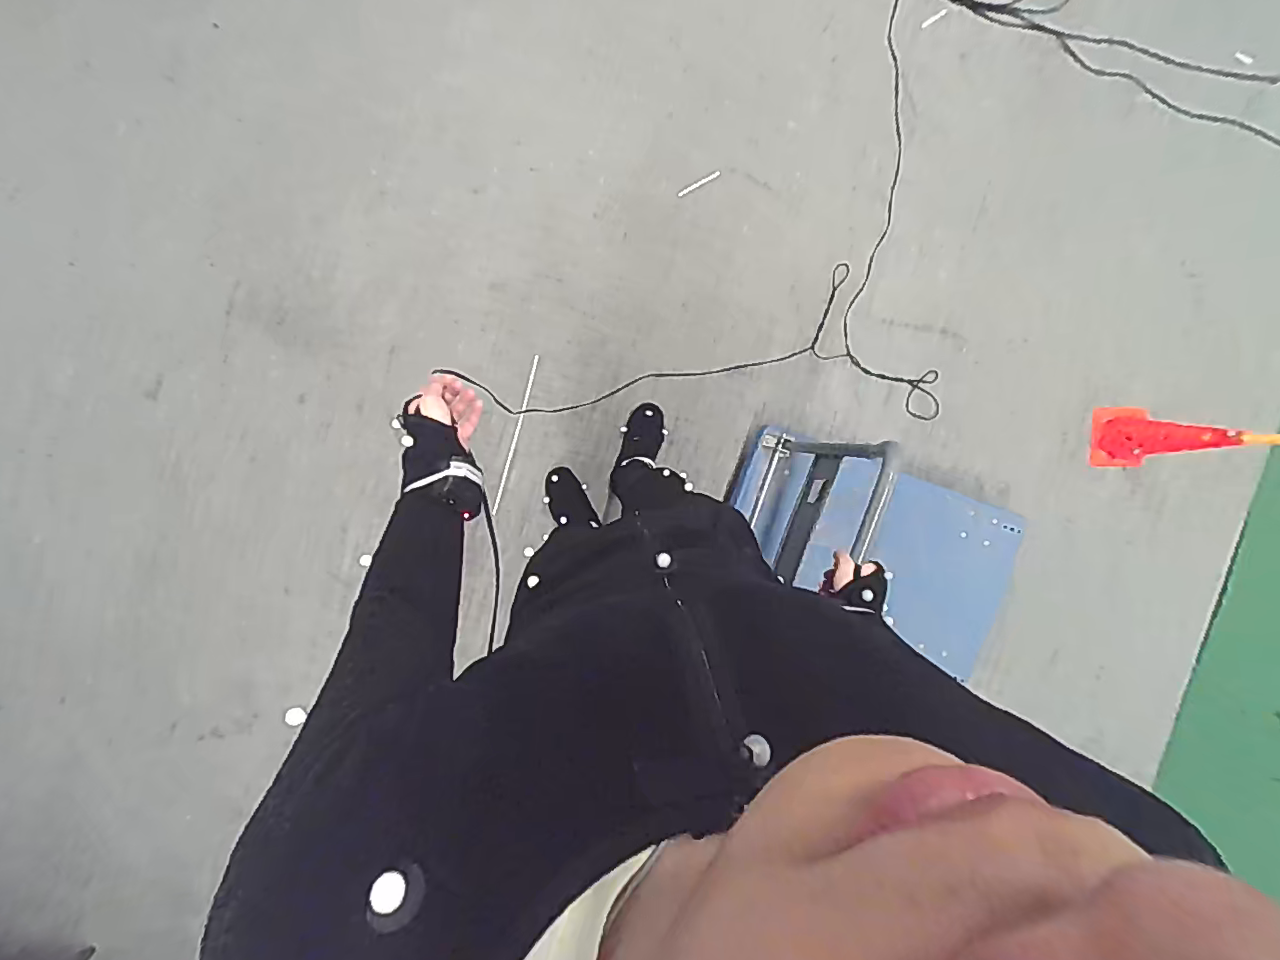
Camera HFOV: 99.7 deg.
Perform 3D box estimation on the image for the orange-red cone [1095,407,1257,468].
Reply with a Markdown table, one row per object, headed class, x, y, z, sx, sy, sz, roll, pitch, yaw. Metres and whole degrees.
| class | x | y | z | sx | sy | sz | roll | pitch | yaw |
| --- | --- | --- | --- | --- | --- | --- | --- | --- | --- |
| orange-red cone | 1.635 | -0.133 | 1.639 | 0.198 | 0.360 | 0.199 | 1 | 93 | -8 |
